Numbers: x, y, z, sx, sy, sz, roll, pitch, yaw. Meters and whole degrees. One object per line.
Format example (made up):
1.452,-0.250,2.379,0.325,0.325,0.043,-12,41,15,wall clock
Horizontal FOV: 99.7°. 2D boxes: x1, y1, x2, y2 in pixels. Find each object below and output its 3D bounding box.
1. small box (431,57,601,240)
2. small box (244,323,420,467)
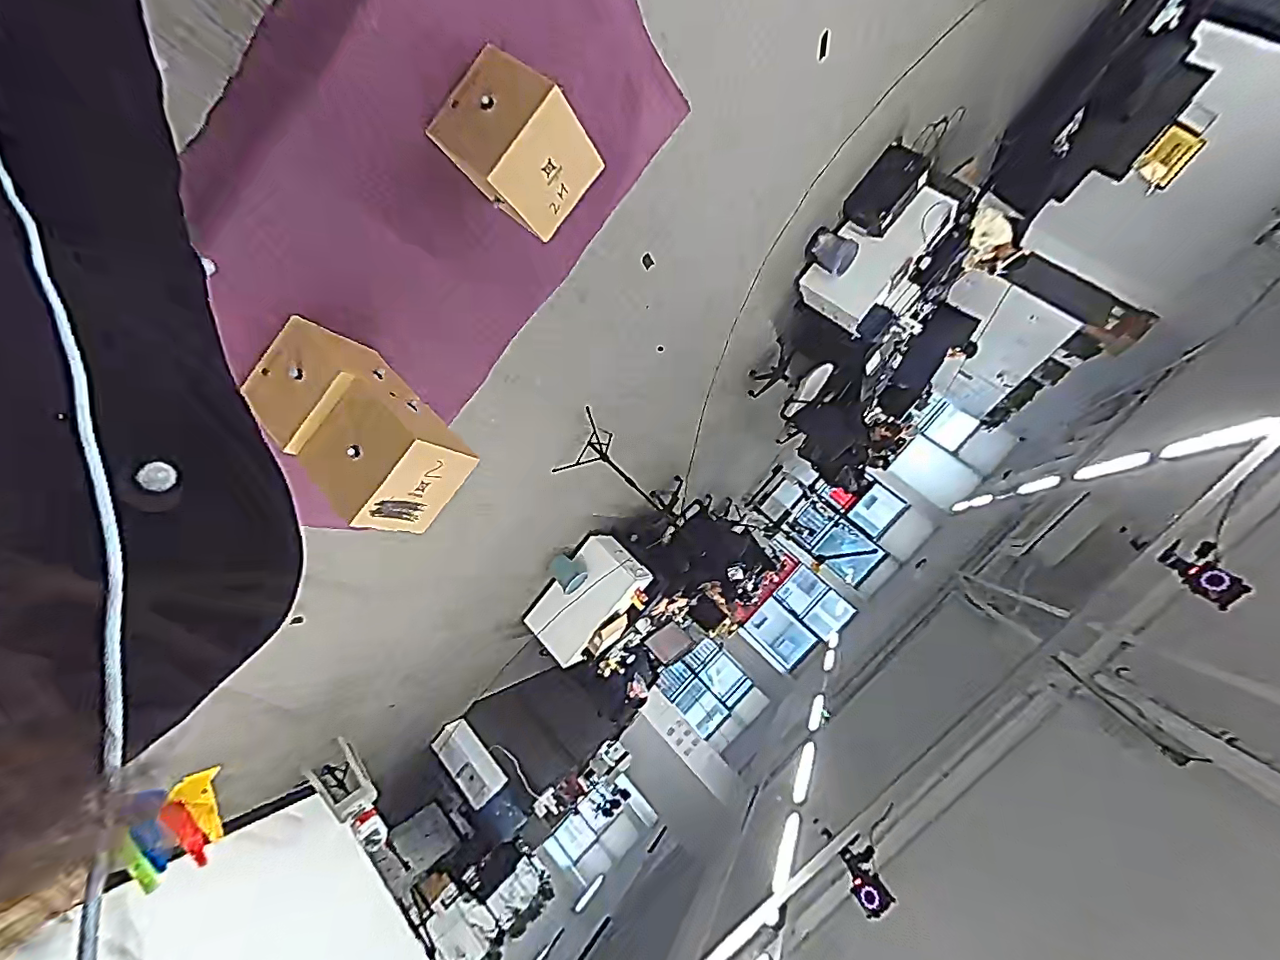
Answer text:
-0.202,-0.541,0.884,0.168,0.176,0.179,-49,160,7,small box
-0.537,-0.147,0.944,0.168,0.176,0.179,-51,161,7,small box
